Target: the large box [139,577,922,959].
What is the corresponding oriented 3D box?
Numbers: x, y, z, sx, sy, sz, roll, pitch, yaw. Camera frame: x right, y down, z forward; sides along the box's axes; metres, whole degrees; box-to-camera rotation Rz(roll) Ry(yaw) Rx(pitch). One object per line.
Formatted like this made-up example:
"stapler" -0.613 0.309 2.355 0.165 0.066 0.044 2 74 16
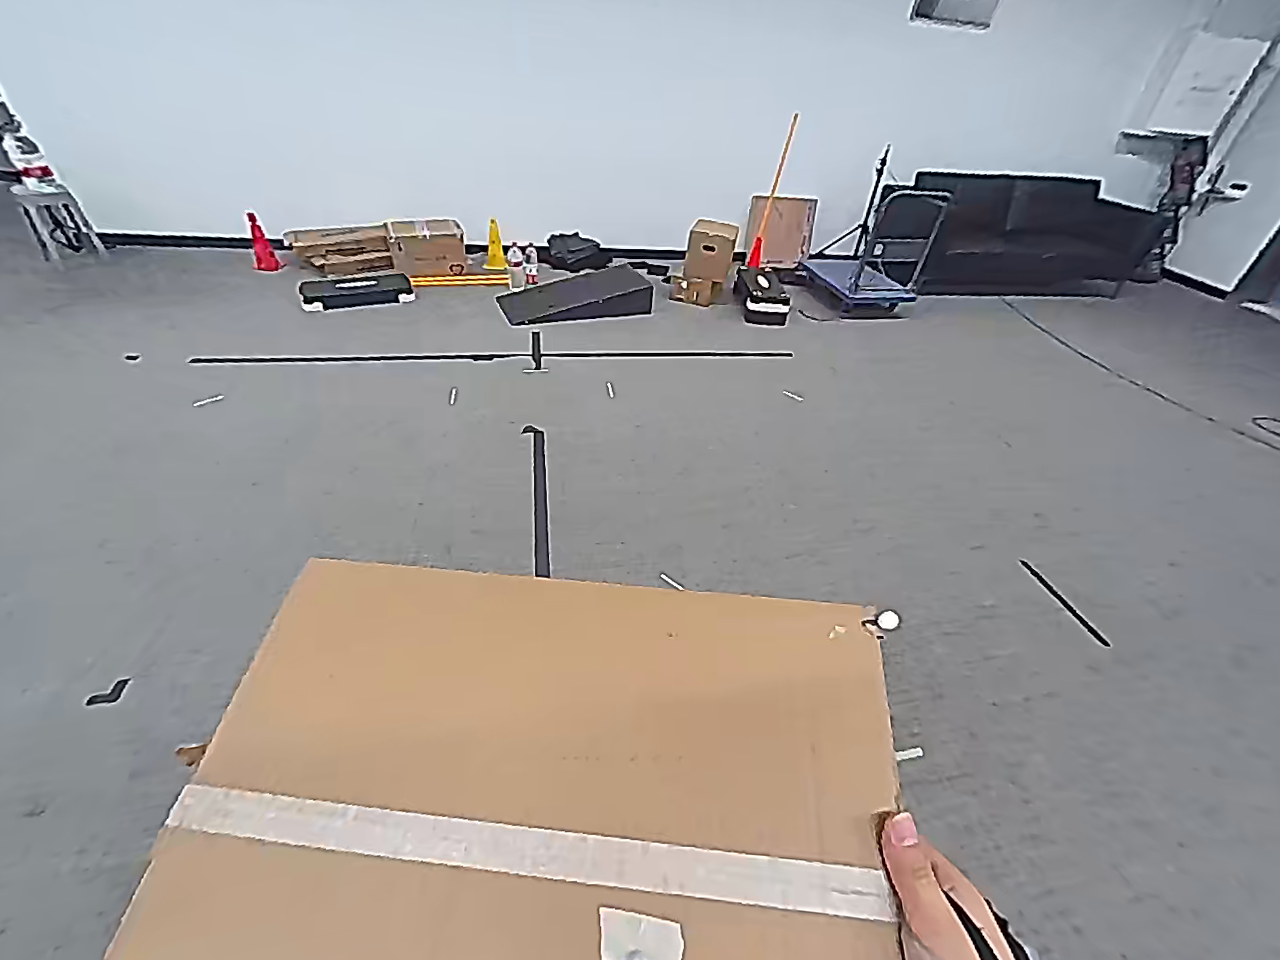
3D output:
"large box" -0.051 0.292 0.421 0.408 0.320 0.320 4 56 4
